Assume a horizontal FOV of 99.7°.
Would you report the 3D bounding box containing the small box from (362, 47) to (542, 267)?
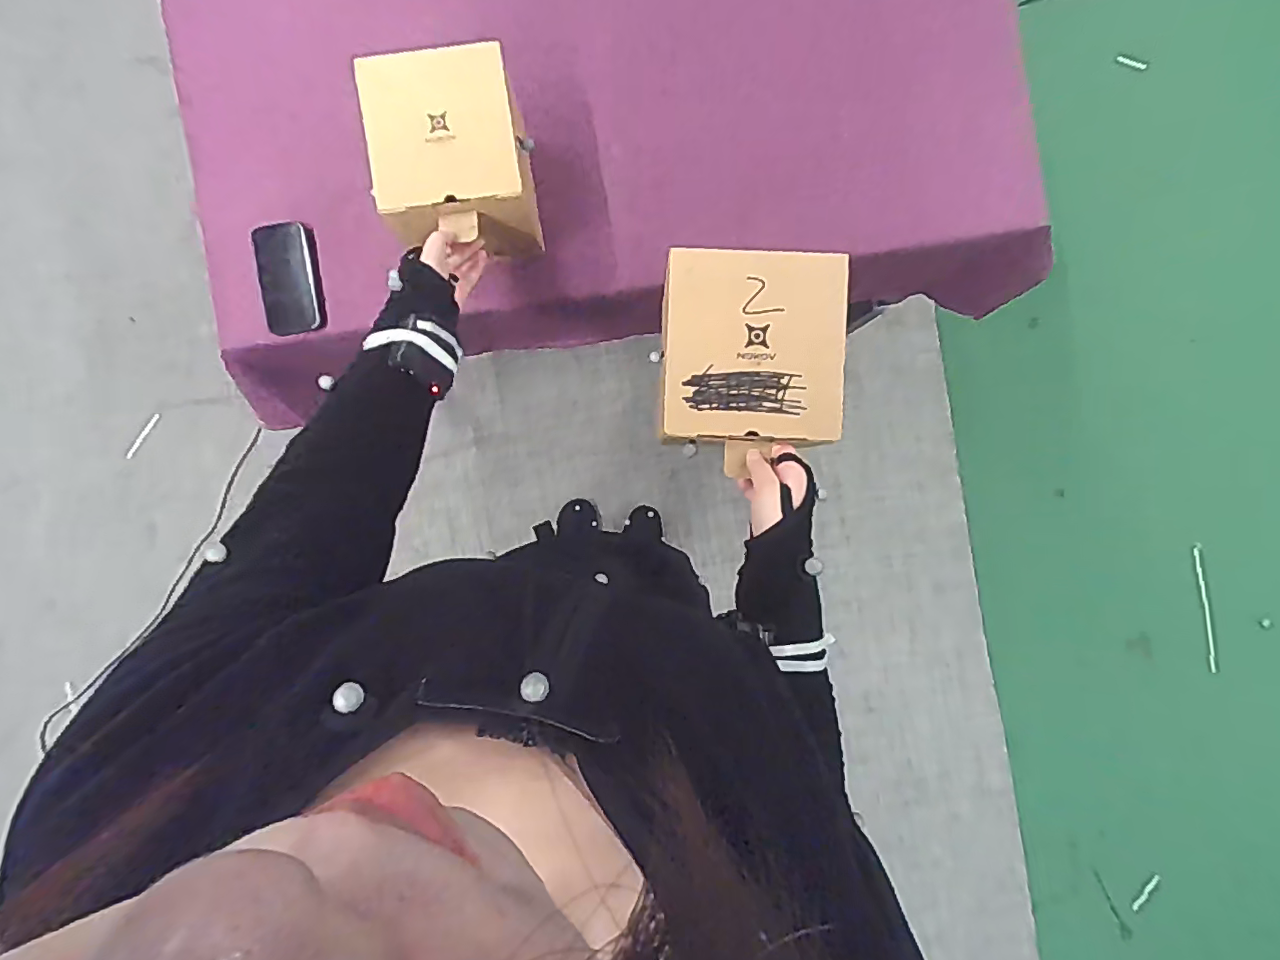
[{"bbox_3d":[-0.227,-0.399,0.694,0.168,0.176,0.179,-9,91,-2],"label":"small box"}]
